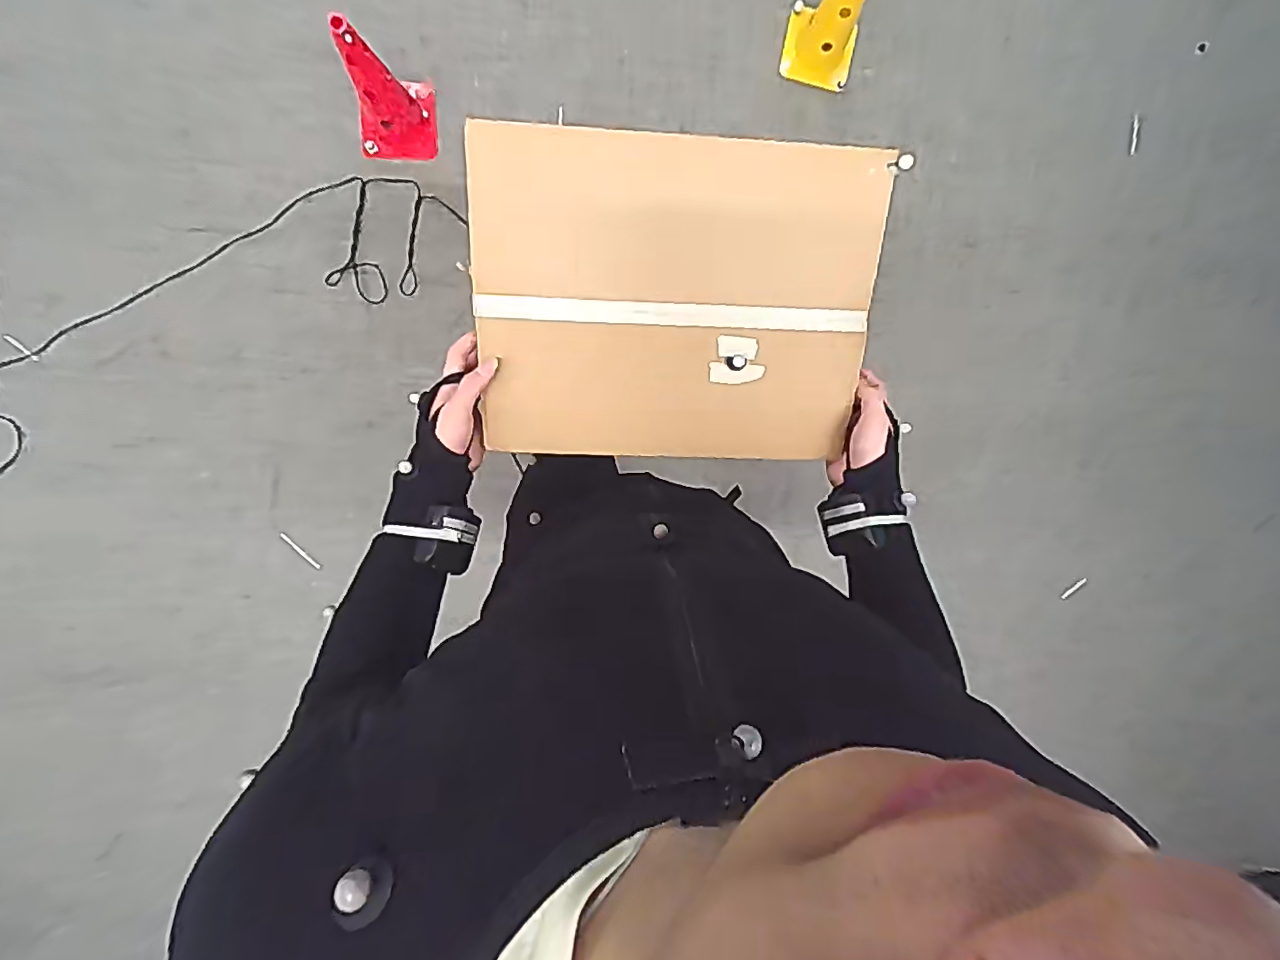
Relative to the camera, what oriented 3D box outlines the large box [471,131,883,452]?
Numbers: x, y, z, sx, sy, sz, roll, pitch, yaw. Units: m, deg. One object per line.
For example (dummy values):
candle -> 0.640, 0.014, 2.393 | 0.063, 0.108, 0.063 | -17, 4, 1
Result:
large box -> 0.025, -0.228, 0.702 | 0.408, 0.320, 0.320 | 0, 111, -5
